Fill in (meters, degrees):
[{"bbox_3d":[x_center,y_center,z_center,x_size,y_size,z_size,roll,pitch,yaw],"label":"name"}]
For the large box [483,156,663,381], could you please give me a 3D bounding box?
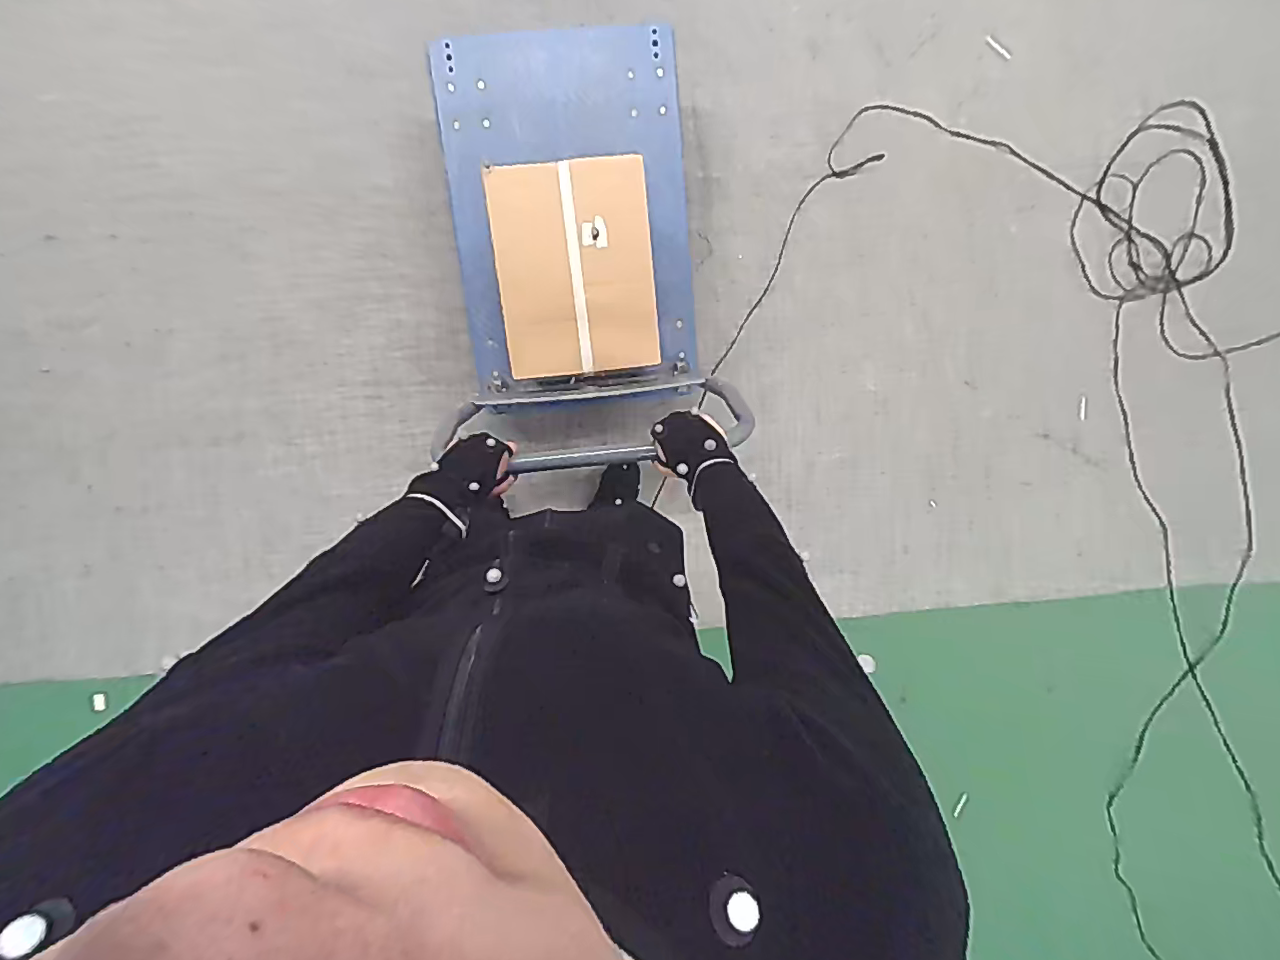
[{"bbox_3d":[-0.135,-0.446,1.227,0.320,0.320,0.408,-7,102,-3],"label":"large box"}]
